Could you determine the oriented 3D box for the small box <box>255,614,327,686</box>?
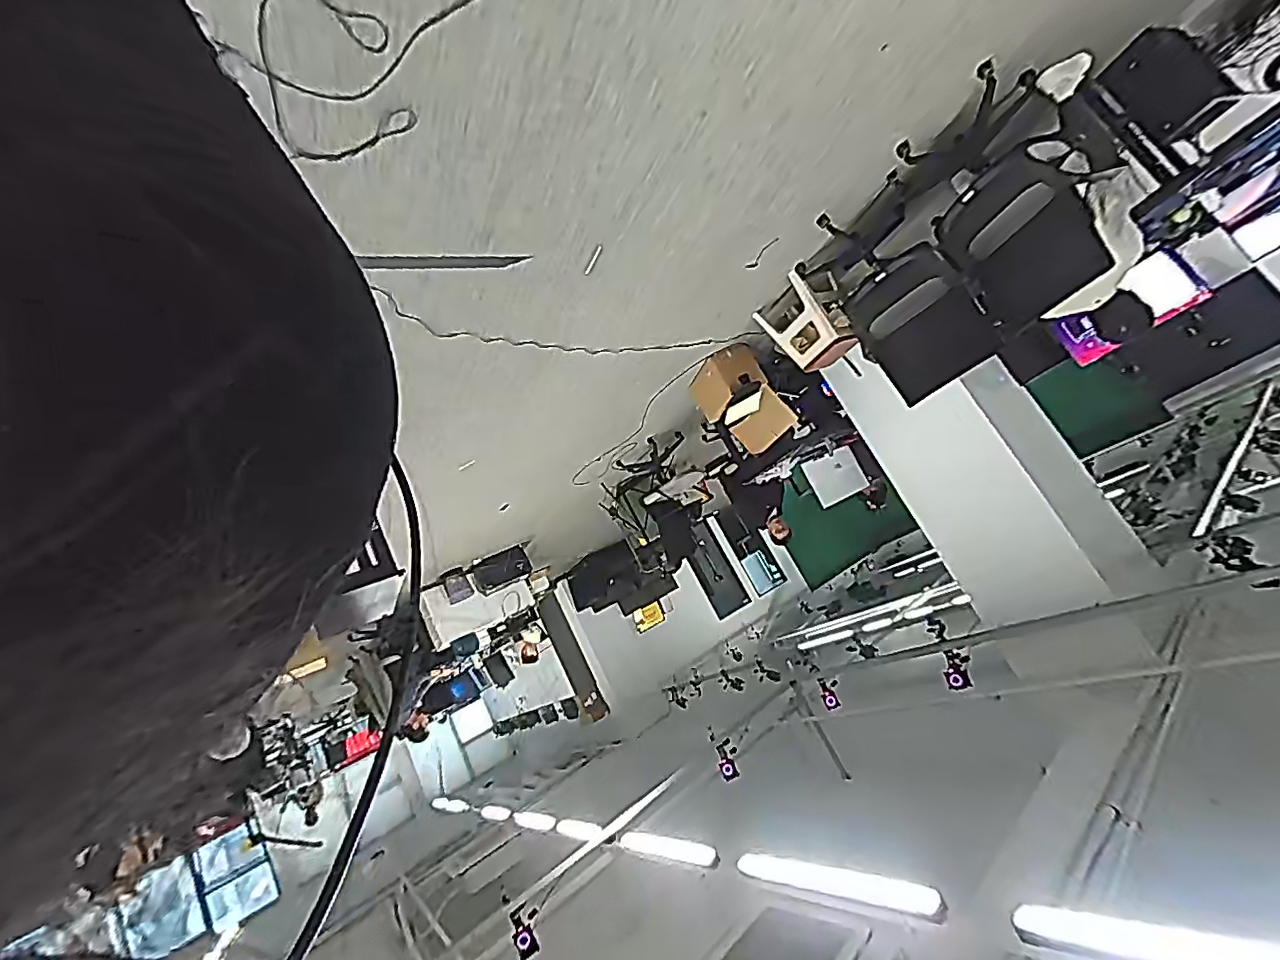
[{"bbox_3d":[-1.176,0.570,1.827,0.168,0.176,0.179,-19,165,-35],"label":"small box"}]
